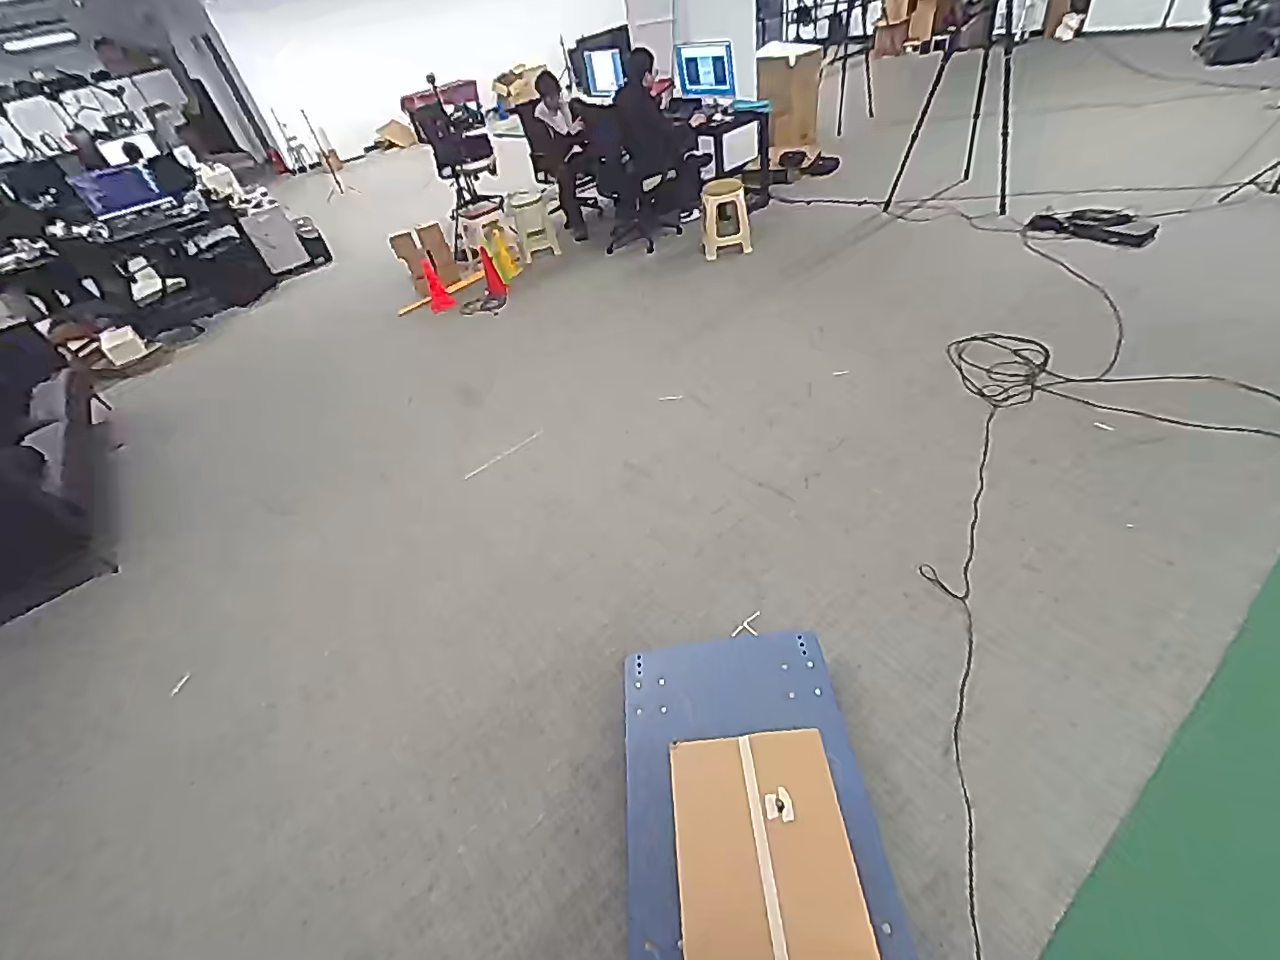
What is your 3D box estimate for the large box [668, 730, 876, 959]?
[{"bbox_3d":[0.244,0.788,1.098,0.320,0.320,0.408,-8,41,5],"label":"large box"}]
